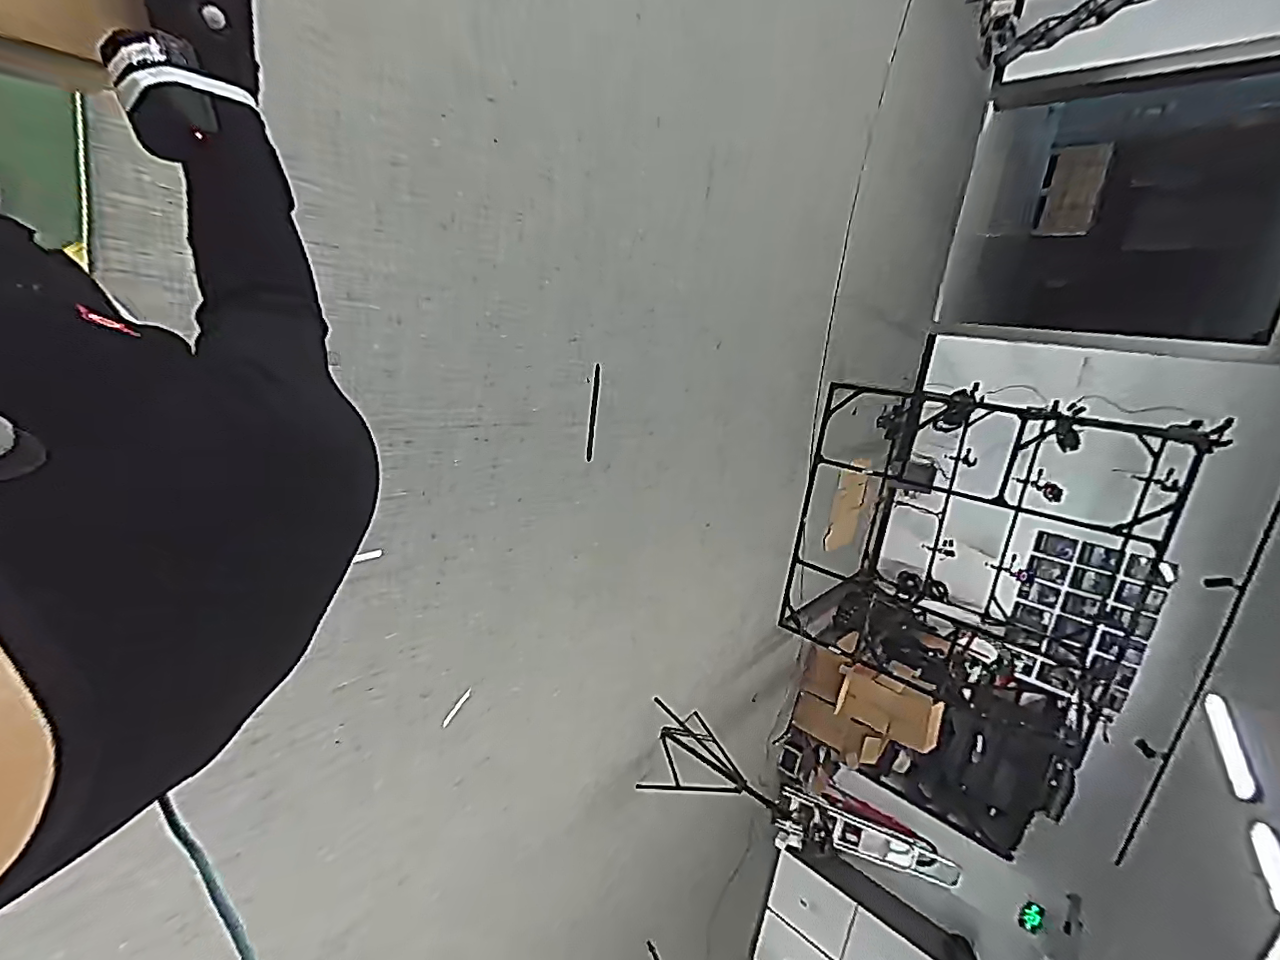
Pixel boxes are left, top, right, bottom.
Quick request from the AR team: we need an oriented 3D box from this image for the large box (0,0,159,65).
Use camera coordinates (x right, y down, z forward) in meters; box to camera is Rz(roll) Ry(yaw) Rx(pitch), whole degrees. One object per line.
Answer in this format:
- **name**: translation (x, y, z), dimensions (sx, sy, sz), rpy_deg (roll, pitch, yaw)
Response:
- **large box**: translation (-0.576, -0.473, 0.281), dimensions (0.408, 0.320, 0.320), rpy_deg (-18, 127, -49)
